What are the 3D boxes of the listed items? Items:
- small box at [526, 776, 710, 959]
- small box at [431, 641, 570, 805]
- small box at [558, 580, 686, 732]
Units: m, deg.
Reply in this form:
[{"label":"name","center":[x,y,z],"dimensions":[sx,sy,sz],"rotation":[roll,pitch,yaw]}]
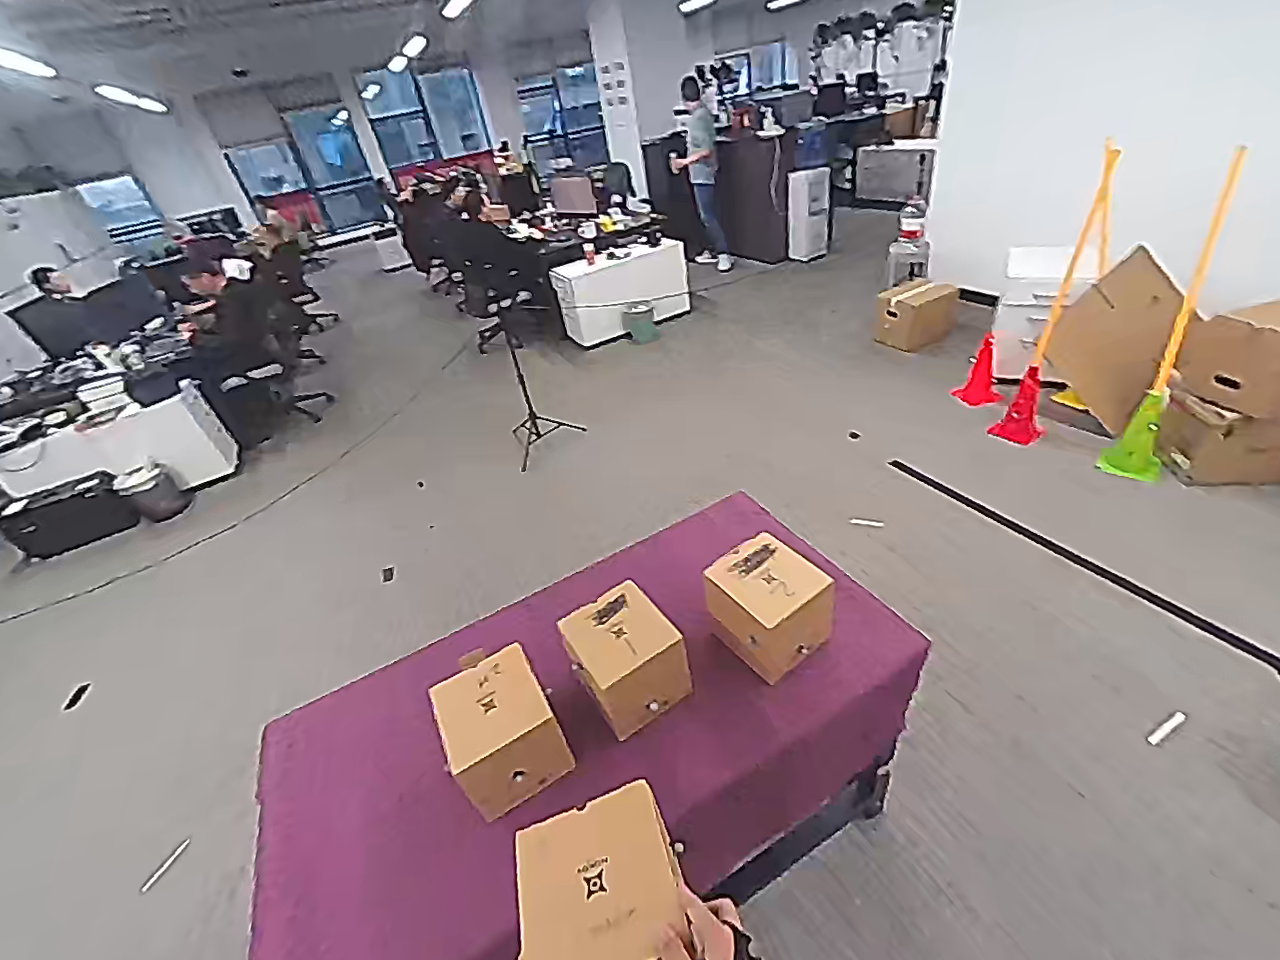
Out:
[{"label":"small box","center":[-0.024,0.490,0.614],"dimensions":[0.168,0.176,0.179],"rotation":[-19,25,-6]},{"label":"small box","center":[-0.238,0.426,0.940],"dimensions":[0.168,0.176,0.179],"rotation":[-25,38,-19]},{"label":"small box","center":[-0.031,0.330,1.018],"dimensions":[0.168,0.176,0.179],"rotation":[-27,39,-21]}]
